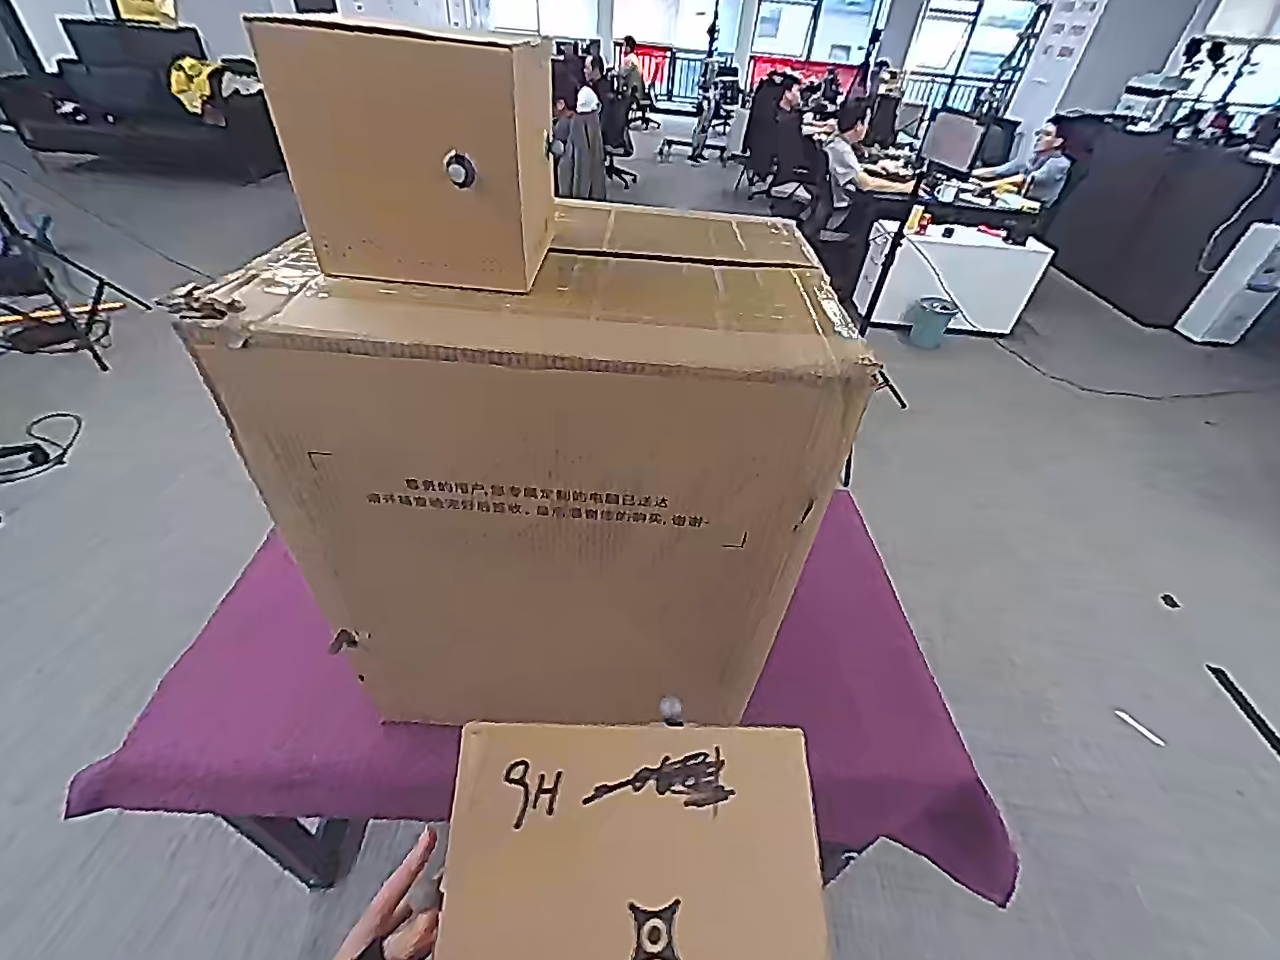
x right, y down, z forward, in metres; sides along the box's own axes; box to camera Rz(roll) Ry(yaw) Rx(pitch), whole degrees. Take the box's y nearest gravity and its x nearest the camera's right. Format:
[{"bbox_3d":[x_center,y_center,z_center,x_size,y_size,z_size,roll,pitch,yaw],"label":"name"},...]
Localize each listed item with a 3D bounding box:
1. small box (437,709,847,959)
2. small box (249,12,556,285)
[{"bbox_3d":[-0.014,0.218,0.285,0.168,0.176,0.179,8,64,-17],"label":"small box"},{"bbox_3d":[-0.169,-0.279,0.460,0.179,0.176,0.168,4,40,-2],"label":"small box"}]
